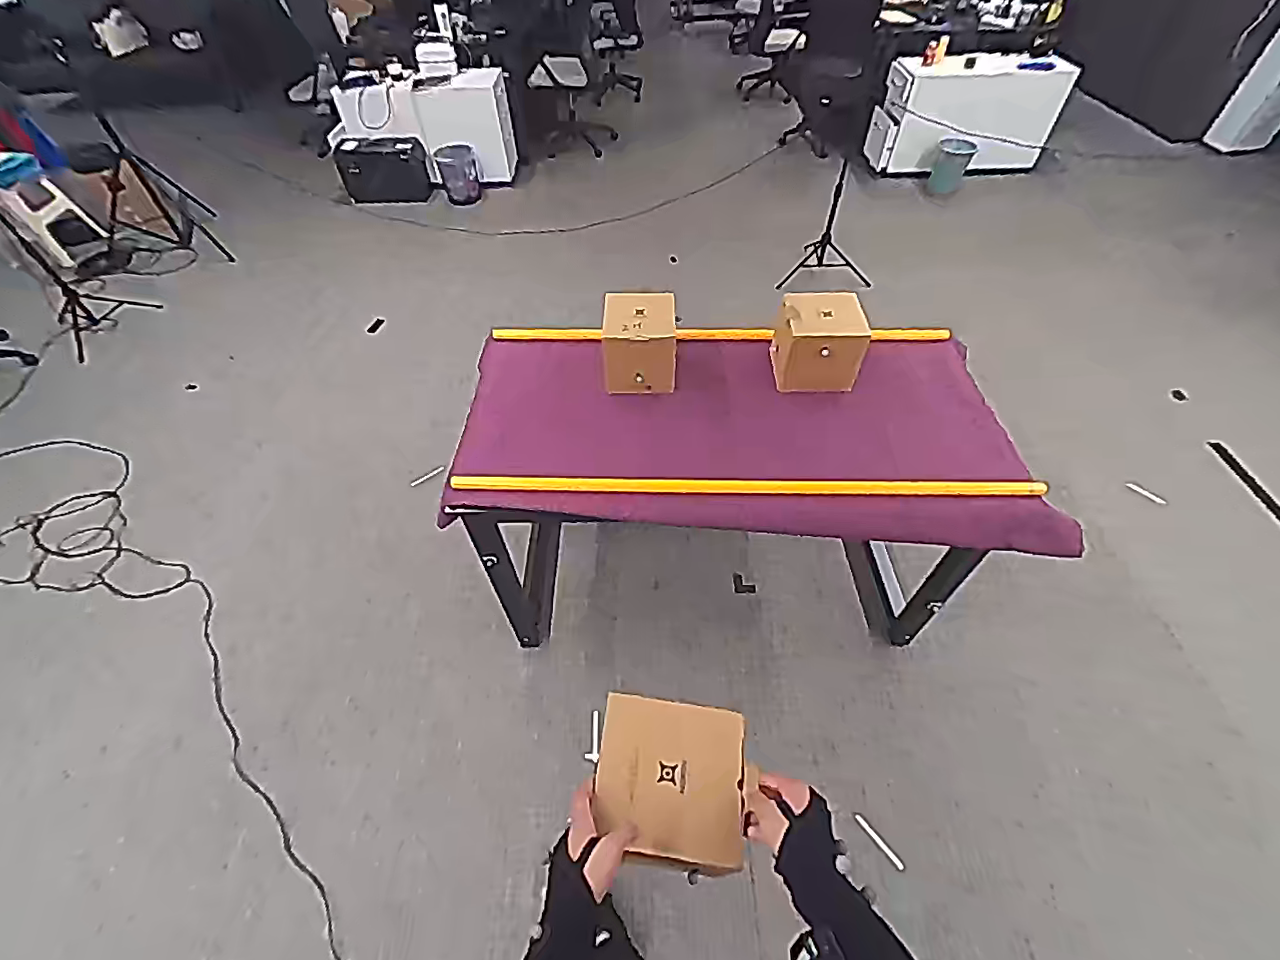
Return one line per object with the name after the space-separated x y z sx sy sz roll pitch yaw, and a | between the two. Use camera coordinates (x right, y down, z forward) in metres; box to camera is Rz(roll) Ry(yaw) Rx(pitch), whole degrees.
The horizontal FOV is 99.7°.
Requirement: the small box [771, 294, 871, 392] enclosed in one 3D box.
0.423 -0.324 1.295 0.179 0.176 0.168 0 51 2 | small box

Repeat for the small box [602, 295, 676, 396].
0.001 -0.324 1.306 0.168 0.176 0.179 0 52 2 | small box

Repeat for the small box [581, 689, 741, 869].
0.025 0.391 0.700 0.179 0.176 0.168 9 51 1 | small box
